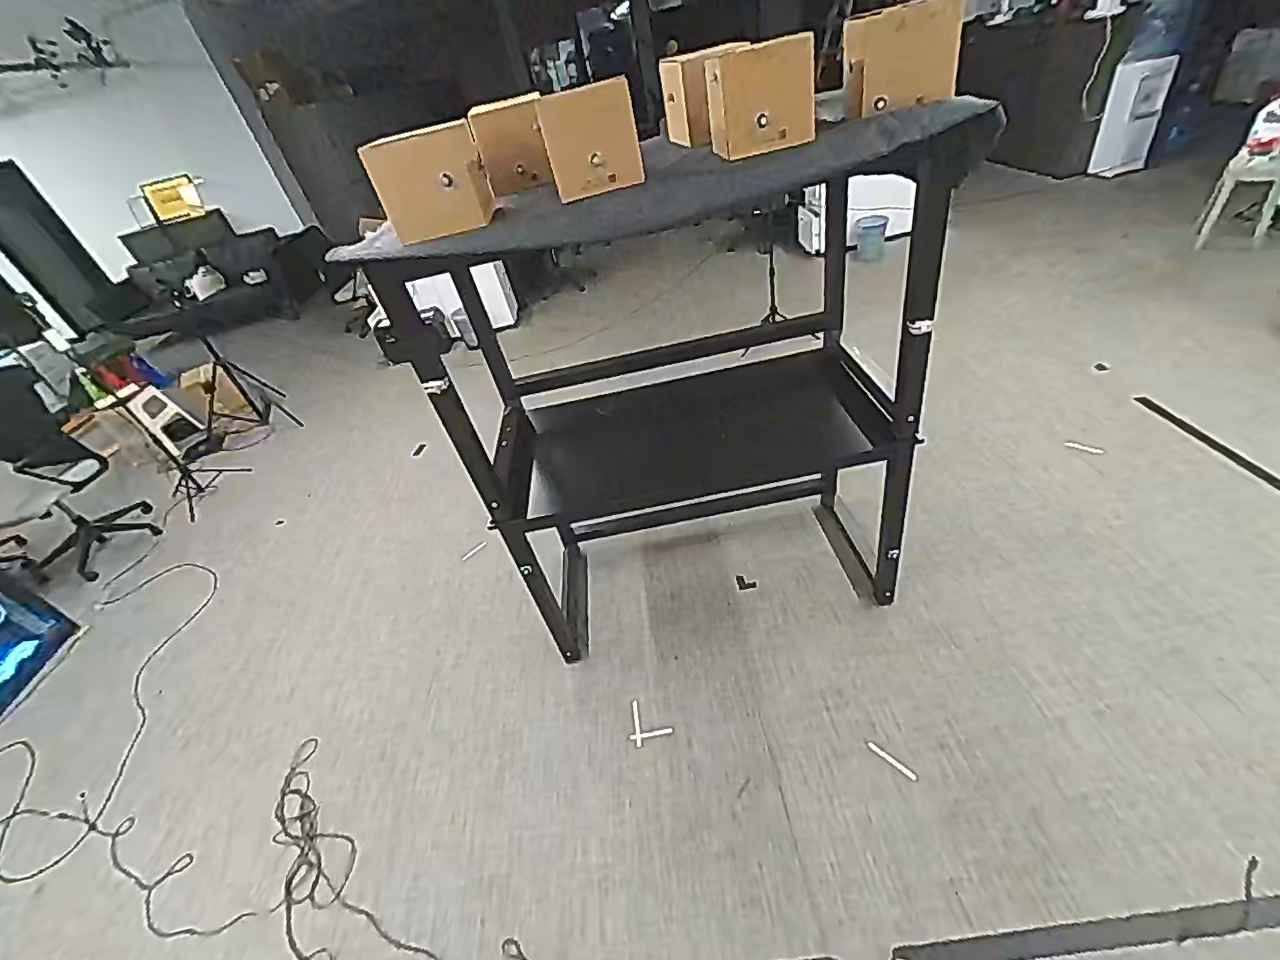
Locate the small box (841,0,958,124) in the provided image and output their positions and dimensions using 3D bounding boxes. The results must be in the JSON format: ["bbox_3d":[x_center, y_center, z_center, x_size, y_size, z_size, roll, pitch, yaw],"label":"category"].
[{"bbox_3d":[0.491,-0.807,1.045,0.168,0.176,0.179,-7,37,11],"label":"small box"}]

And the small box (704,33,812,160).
[{"bbox_3d":[0.224,-0.735,1.046,0.168,0.176,0.179,-12,37,4],"label":"small box"}]

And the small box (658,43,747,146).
[{"bbox_3d":[0.152,-0.908,1.281,0.168,0.176,0.179,-18,38,-4],"label":"small box"}]

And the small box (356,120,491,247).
[{"bbox_3d":[-0.401,-0.570,1.042,0.179,0.176,0.168,-13,38,2],"label":"small box"}]

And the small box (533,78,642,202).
[{"bbox_3d":[-0.102,-0.652,1.045,0.168,0.176,0.179,-16,36,-1],"label":"small box"}]
